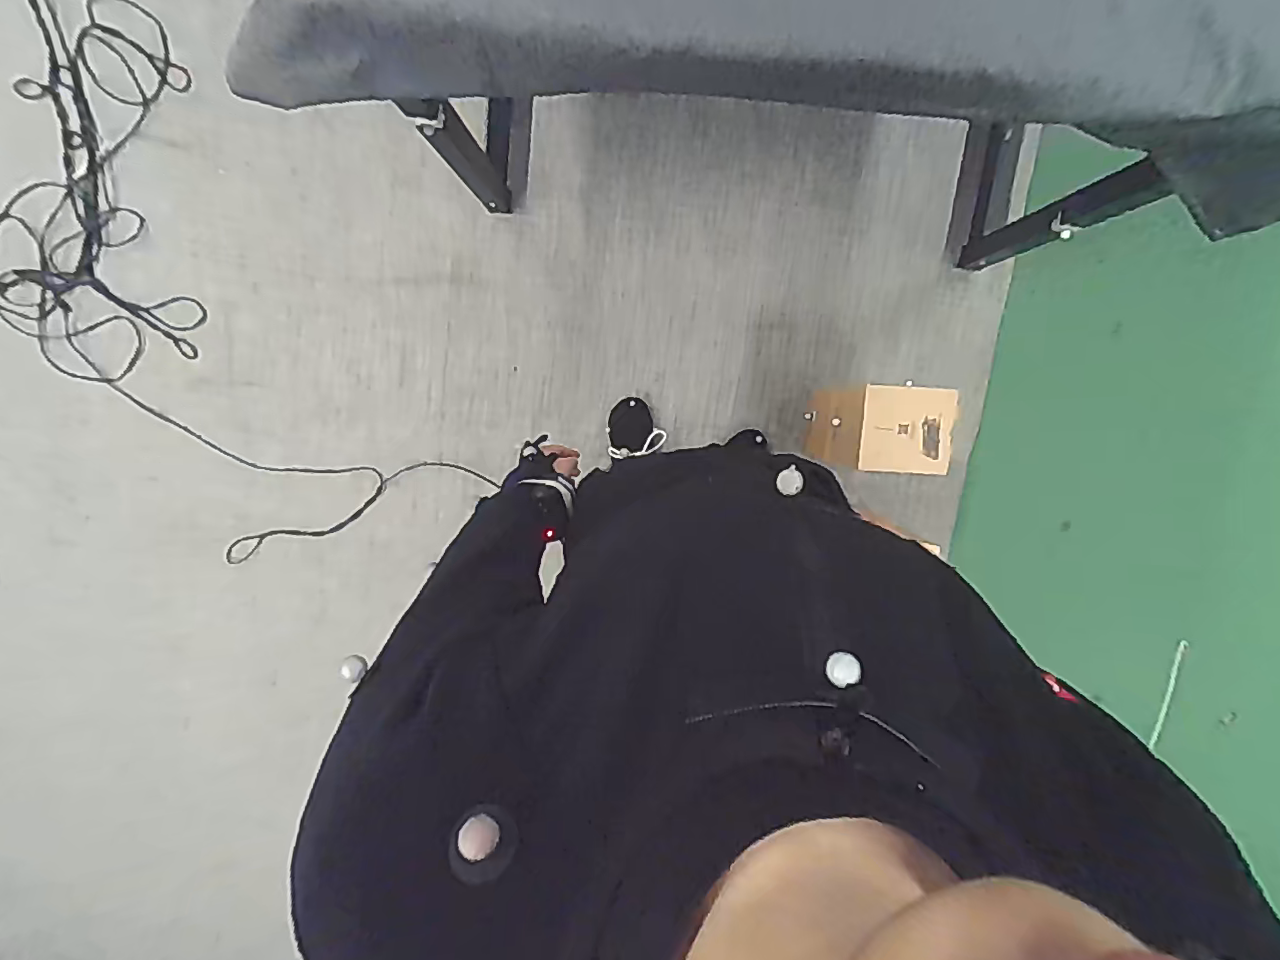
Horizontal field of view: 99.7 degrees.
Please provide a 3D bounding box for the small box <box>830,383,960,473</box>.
[{"bbox_3d":[0.507,-0.109,1.097,0.179,0.176,0.168,3,98,1],"label":"small box"}]

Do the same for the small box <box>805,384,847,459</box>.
[{"bbox_3d":[0.503,-0.134,1.260,0.179,0.176,0.168,4,98,1],"label":"small box"}]
